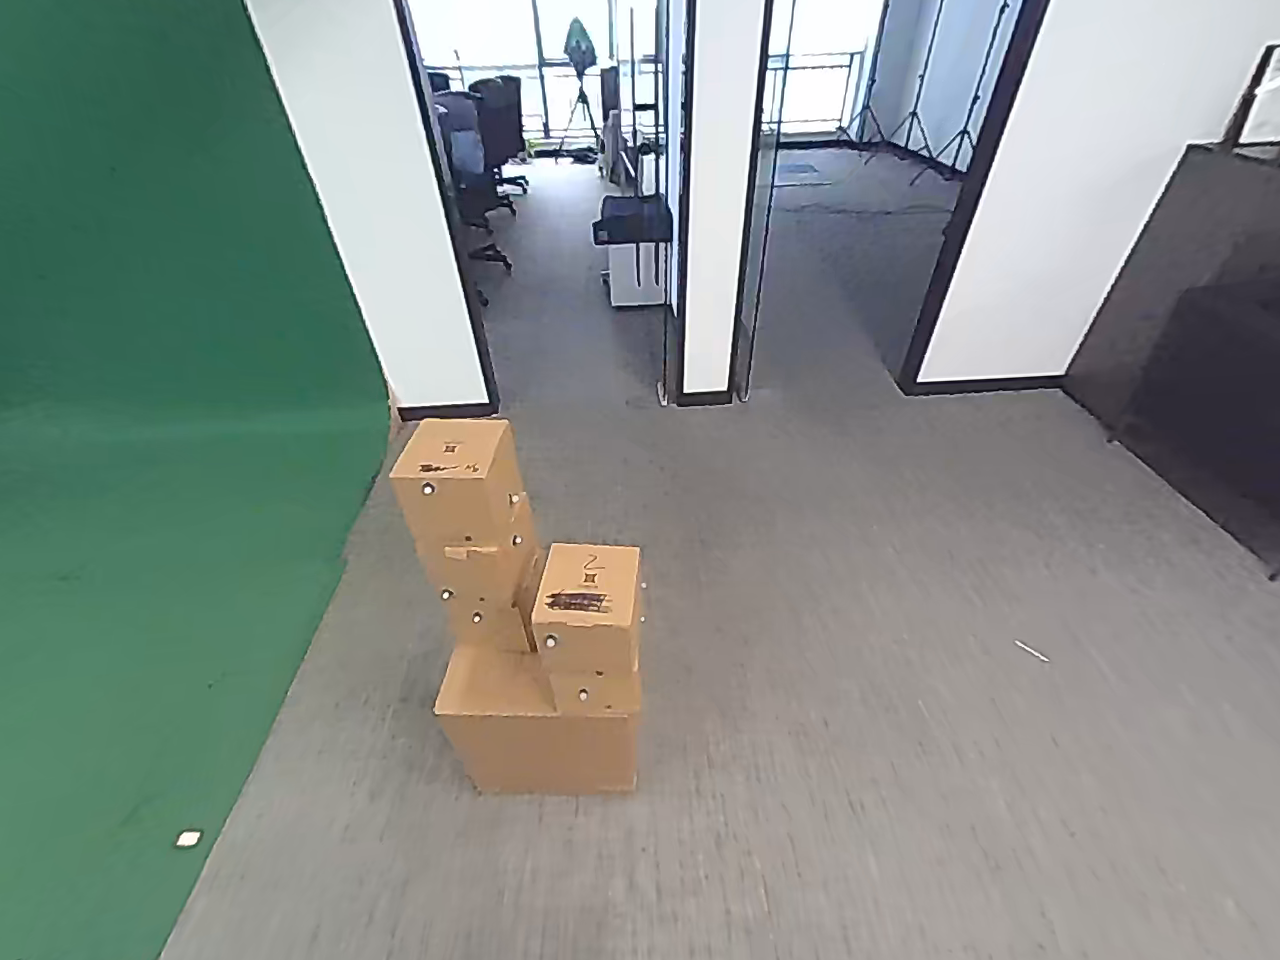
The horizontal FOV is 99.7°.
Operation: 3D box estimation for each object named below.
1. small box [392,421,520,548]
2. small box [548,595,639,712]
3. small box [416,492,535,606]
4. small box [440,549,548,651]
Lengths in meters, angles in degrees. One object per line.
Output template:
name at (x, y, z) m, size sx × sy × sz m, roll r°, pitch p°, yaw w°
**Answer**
small box at (-0.331, 0.006, 1.015) m, size 0.168 × 0.176 × 0.179 m, roll 0°, pitch 39°, yaw 3°
small box at (-0.086, 0.356, 1.103) m, size 0.168 × 0.176 × 0.179 m, roll -1°, pitch 40°, yaw 0°
small box at (-0.325, 0.137, 1.115) m, size 0.168 × 0.176 × 0.179 m, roll 5°, pitch 39°, yaw 8°
small box at (-0.318, 0.265, 1.219) m, size 0.179 × 0.176 × 0.168 m, roll 5°, pitch 41°, yaw 6°
